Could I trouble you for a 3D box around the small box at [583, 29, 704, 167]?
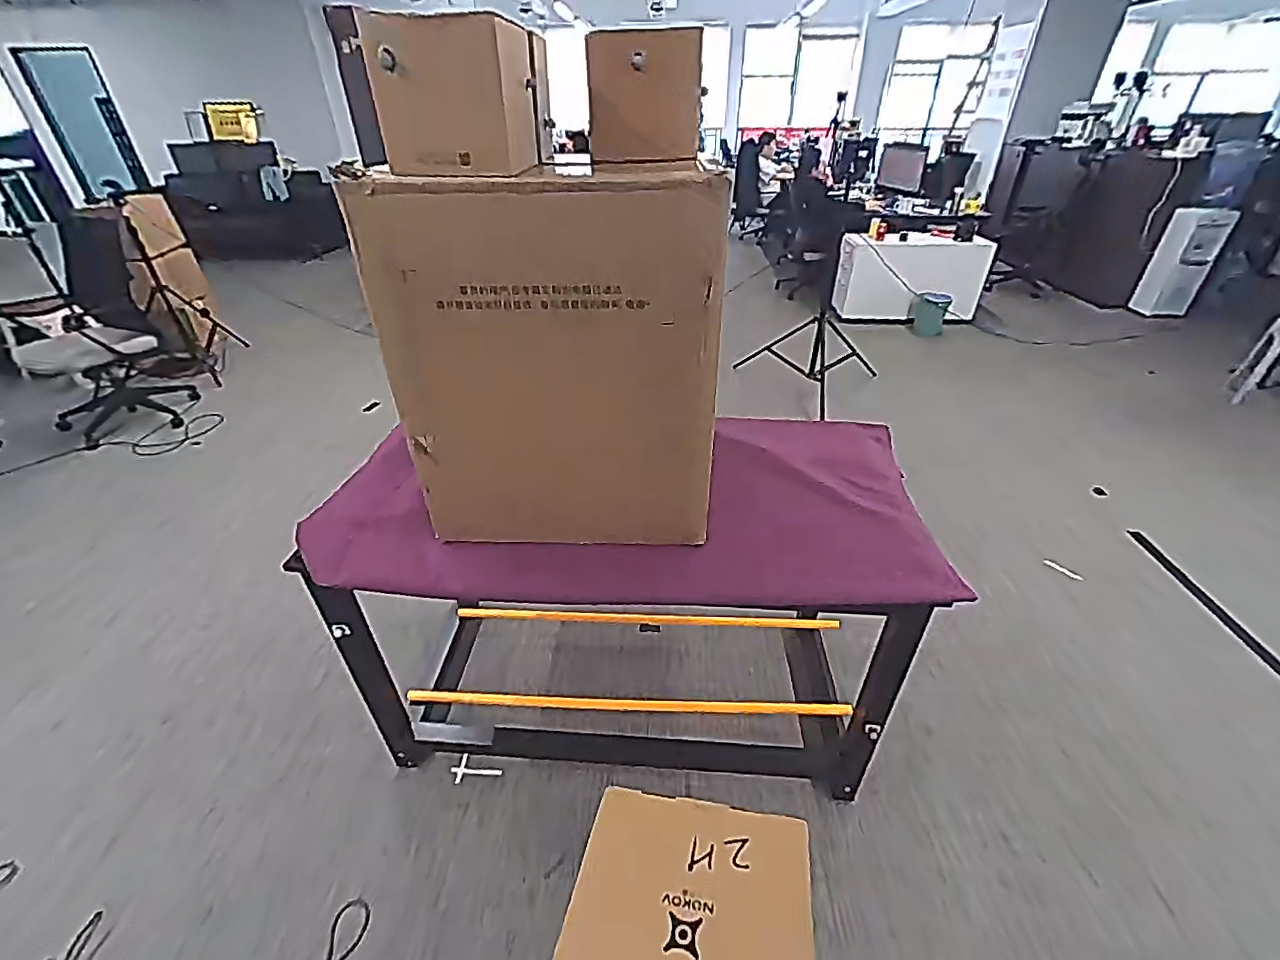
[{"bbox_3d":[0.008,-0.621,0.886,0.179,0.176,0.168,-1,34,2],"label":"small box"}]
